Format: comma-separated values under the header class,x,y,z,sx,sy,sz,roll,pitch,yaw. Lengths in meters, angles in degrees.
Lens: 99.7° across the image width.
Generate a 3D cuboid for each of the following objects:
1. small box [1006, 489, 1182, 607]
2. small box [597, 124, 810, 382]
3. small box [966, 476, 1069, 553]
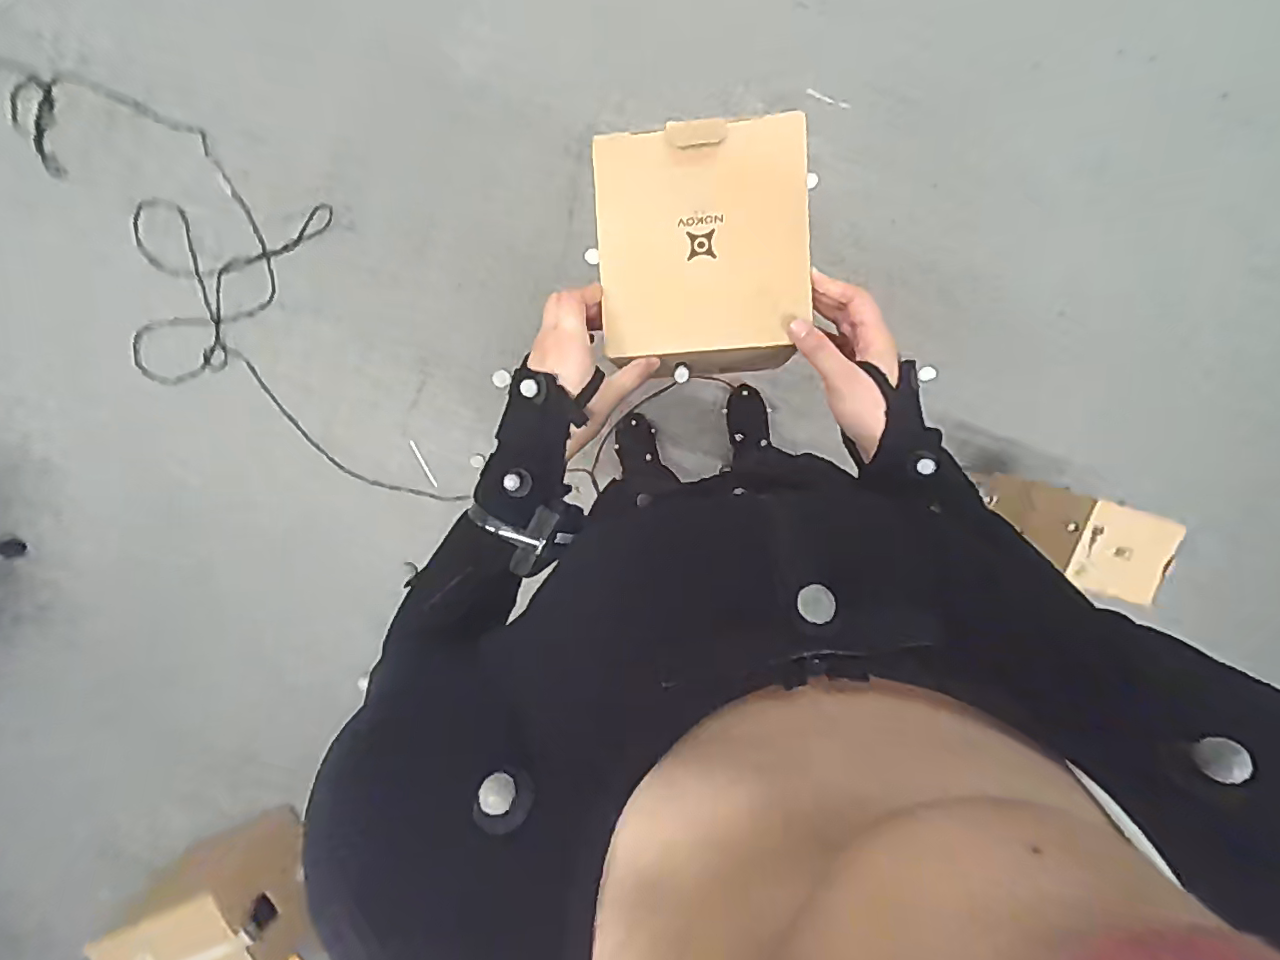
class,x,y,z,sx,sy,sz,roll,pitch,yaw
small box,0.890,0.126,1.078,0.179,0.176,0.168,17,98,-2
small box,0.058,-0.186,0.501,0.168,0.176,0.179,-2,93,6
small box,0.902,0.096,1.240,0.179,0.176,0.168,17,98,0
